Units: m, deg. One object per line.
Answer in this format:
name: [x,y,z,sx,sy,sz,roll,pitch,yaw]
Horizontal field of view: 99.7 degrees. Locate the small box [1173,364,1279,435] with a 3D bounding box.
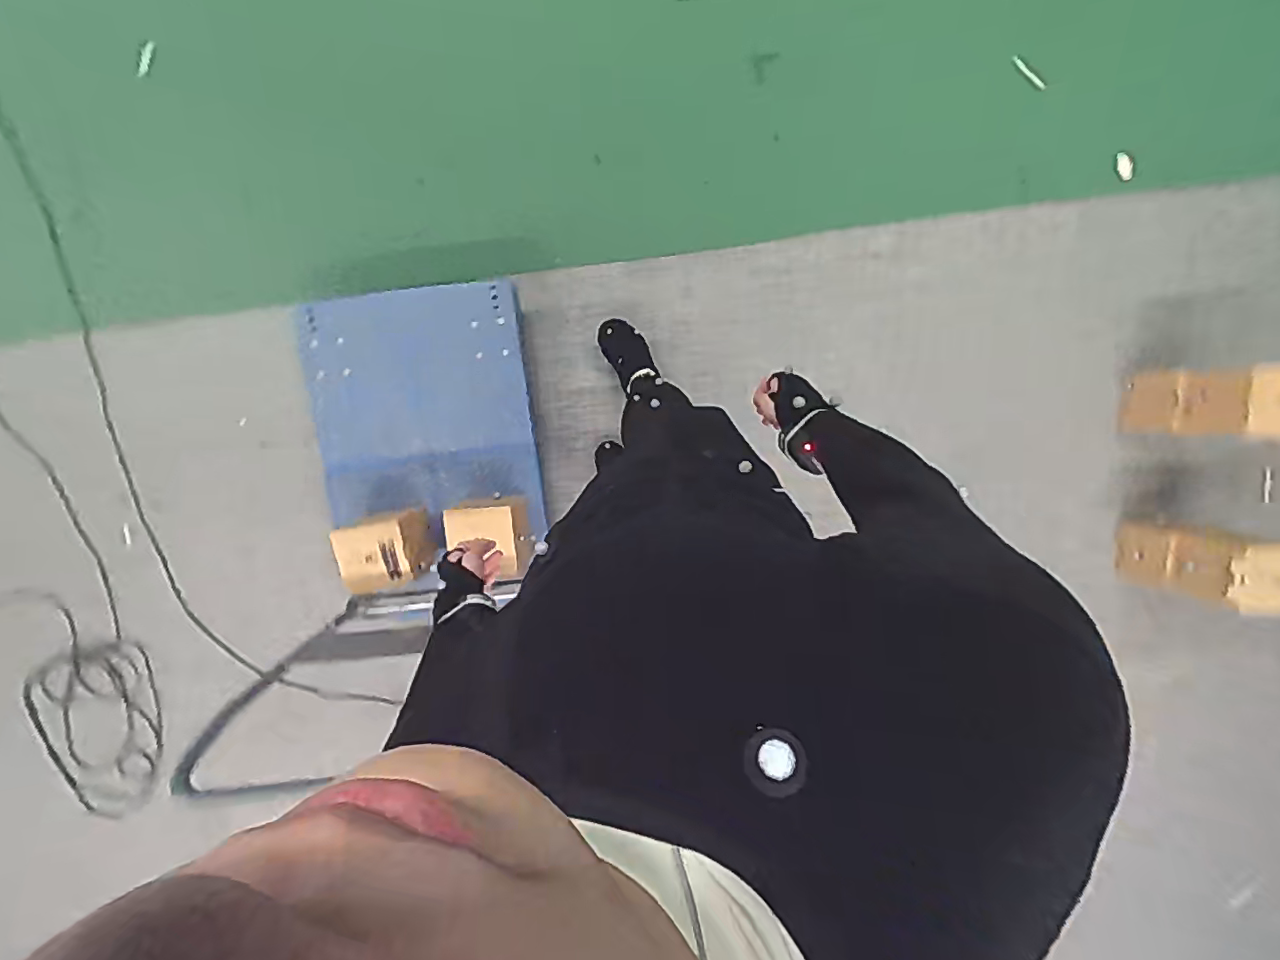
small box: [1.502,-0.203,1.346,0.179,0.176,0.168,-2,99,1]

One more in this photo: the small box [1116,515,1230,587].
small box: [1.533,0.201,1.566,0.179,0.176,0.168,-5,98,1]

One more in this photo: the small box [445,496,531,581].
small box: [-0.381,0.145,1.385,0.168,0.176,0.179,-4,98,0]

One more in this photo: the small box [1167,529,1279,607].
small box: [1.543,0.223,1.403,0.179,0.176,0.168,0,97,0]

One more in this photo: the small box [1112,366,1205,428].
small box: [1.487,-0.232,1.523,0.179,0.176,0.168,-2,99,0]
